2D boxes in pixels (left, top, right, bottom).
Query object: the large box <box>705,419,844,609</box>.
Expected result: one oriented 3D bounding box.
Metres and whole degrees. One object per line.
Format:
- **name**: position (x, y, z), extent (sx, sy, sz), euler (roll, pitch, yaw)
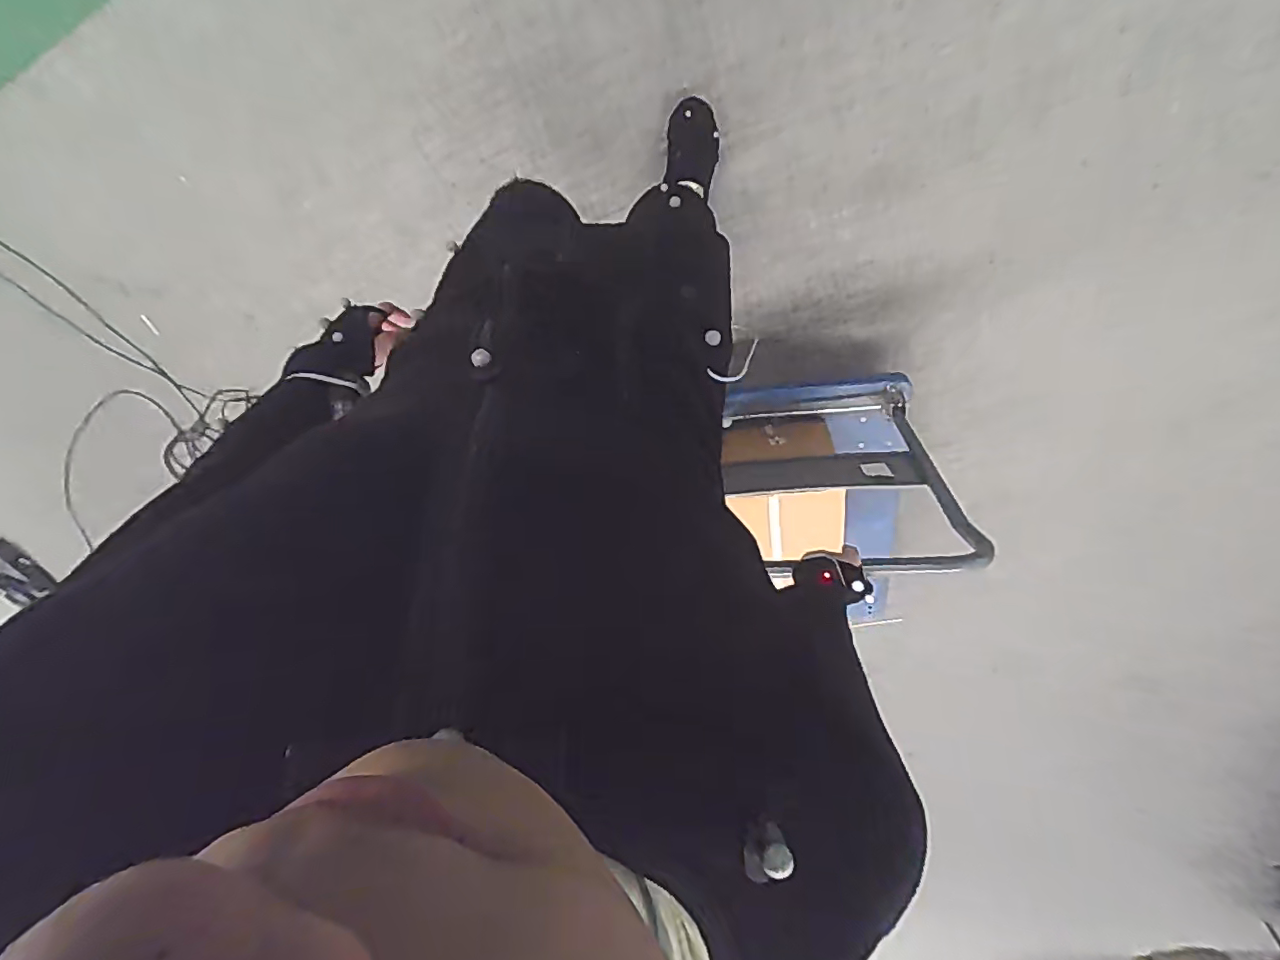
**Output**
- **large box**: position (0.355, 0.092, 1.454), extent (0.320, 0.320, 0.408), euler (-4, 125, 12)
